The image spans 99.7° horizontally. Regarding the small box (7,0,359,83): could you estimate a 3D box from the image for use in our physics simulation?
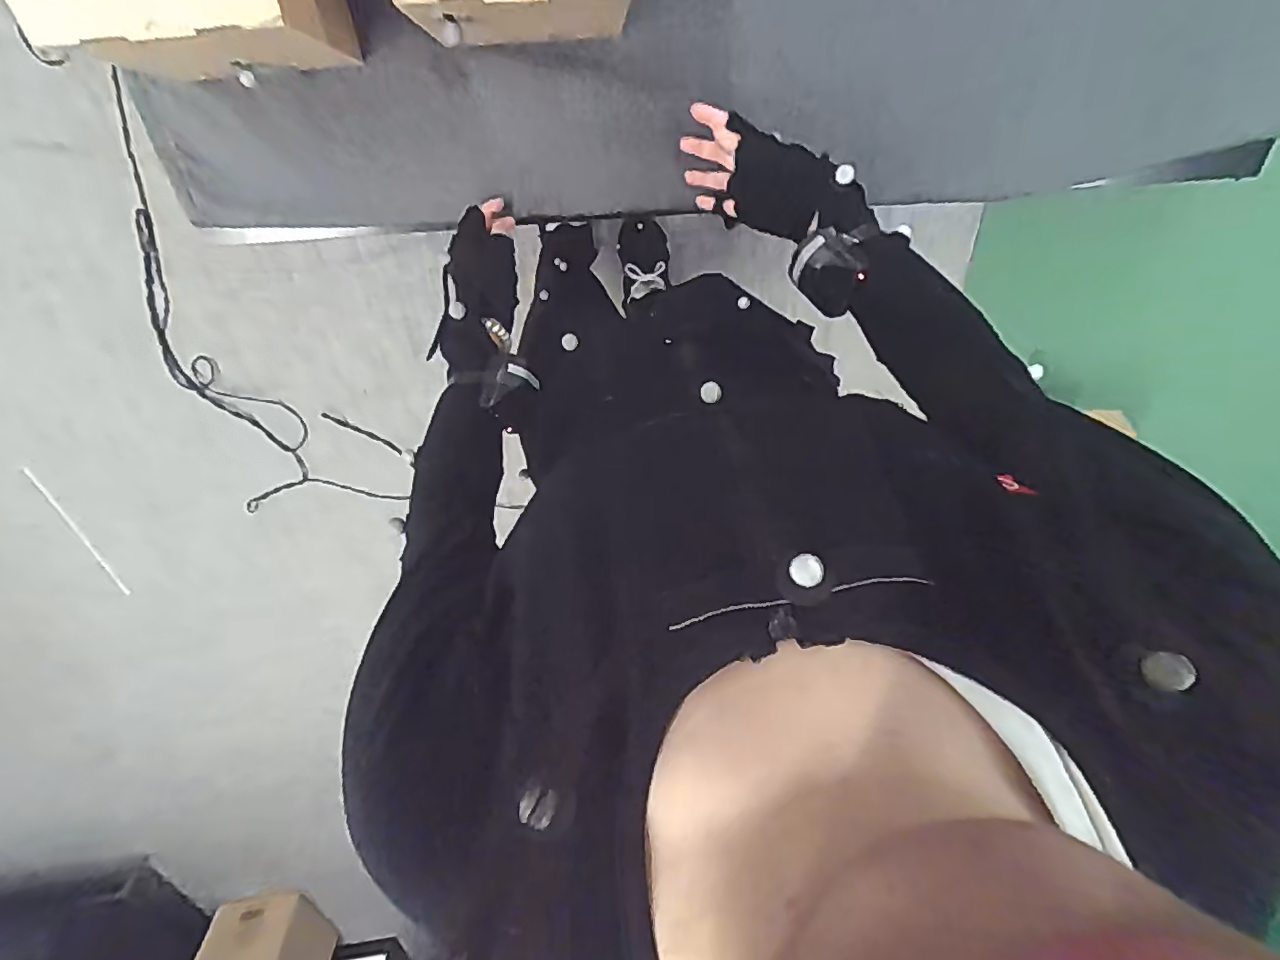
[{"bbox_3d":[-0.332,-0.406,0.384,0.168,0.176,0.179,-8,121,-4],"label":"small box"}]
